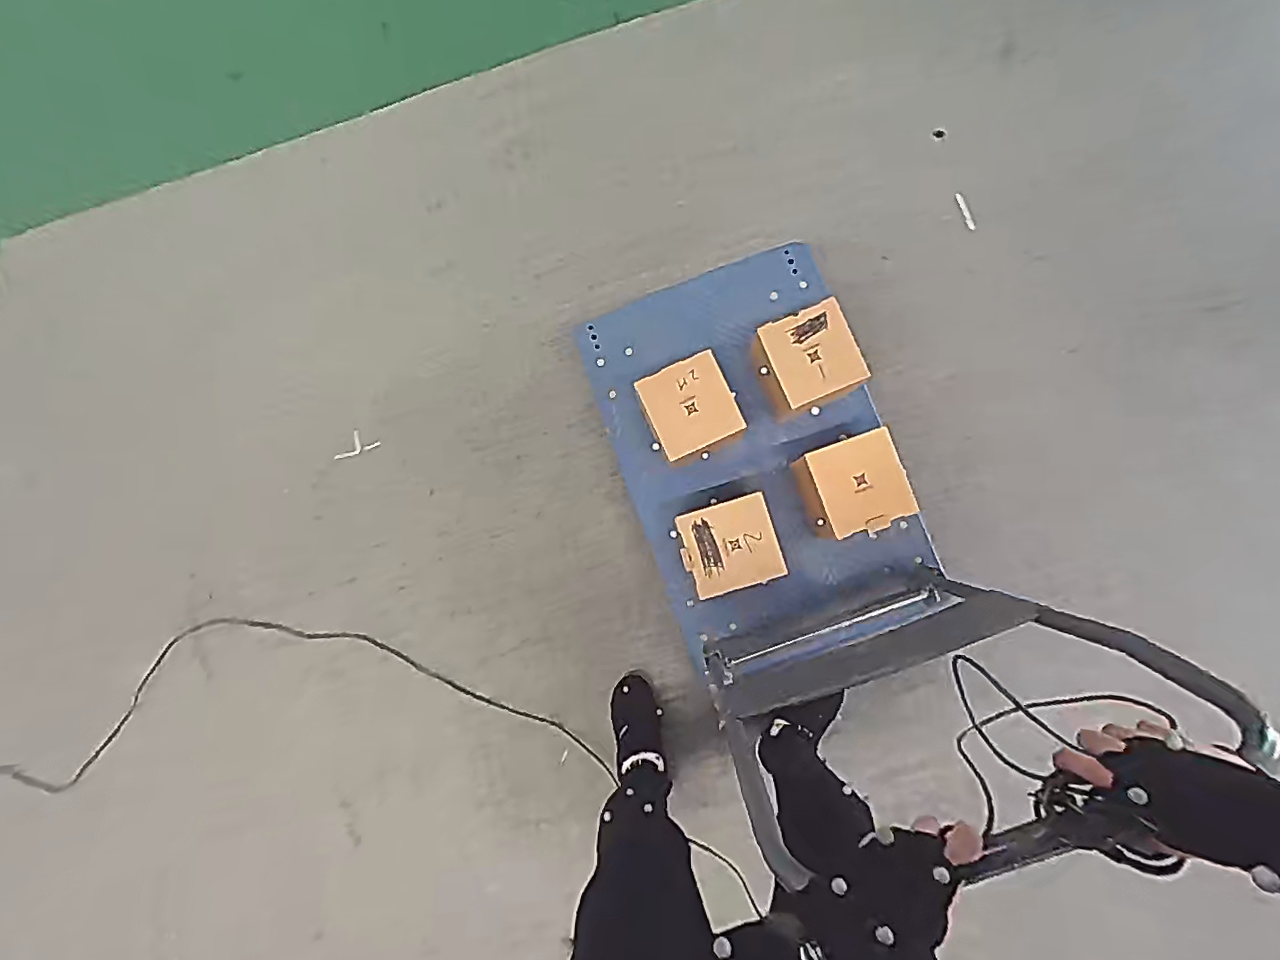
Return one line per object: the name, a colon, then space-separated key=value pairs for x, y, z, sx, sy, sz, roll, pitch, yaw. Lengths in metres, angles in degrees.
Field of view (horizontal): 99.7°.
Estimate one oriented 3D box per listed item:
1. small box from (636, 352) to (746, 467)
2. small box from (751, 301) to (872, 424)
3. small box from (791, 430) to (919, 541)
small box: x=0.104 y=-0.135 z=1.126 sx=0.168 sy=0.176 sz=0.179 roll=-23 pitch=85 yaw=1
small box: x=0.342 y=-0.233 z=1.118 sx=0.168 sy=0.176 sz=0.179 roll=-22 pitch=85 yaw=2
small box: x=0.422 y=0.018 z=1.095 sx=0.168 sy=0.176 sz=0.179 roll=-19 pitch=85 yaw=2
